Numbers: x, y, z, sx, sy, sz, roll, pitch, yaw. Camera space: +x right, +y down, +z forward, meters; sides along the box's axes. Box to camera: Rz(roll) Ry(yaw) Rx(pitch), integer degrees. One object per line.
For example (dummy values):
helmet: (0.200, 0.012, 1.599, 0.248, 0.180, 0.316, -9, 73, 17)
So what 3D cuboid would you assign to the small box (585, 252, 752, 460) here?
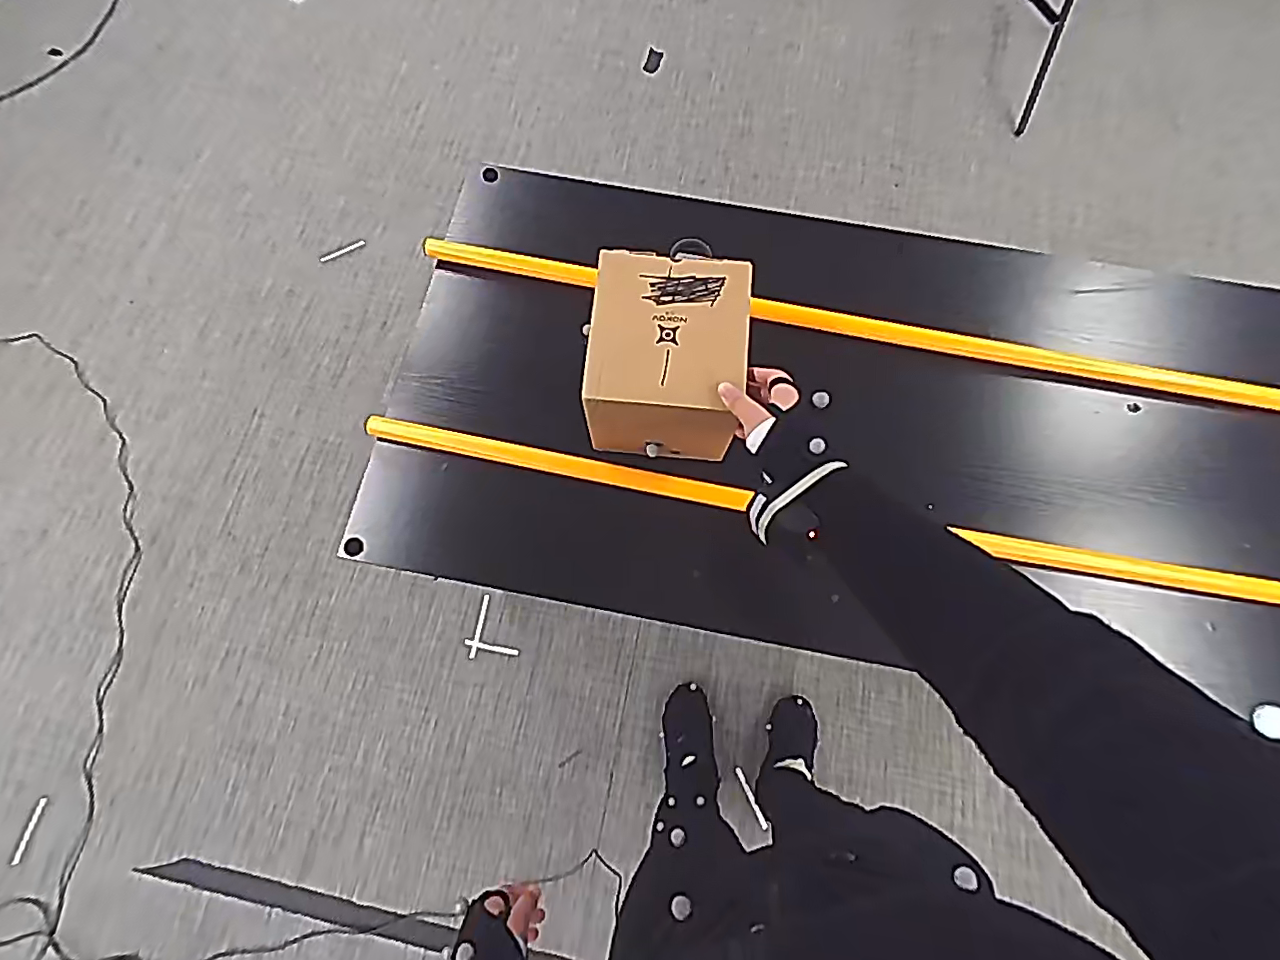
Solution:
small box: (0.032, -0.137, 0.643, 0.168, 0.176, 0.179, 5, 75, 2)
